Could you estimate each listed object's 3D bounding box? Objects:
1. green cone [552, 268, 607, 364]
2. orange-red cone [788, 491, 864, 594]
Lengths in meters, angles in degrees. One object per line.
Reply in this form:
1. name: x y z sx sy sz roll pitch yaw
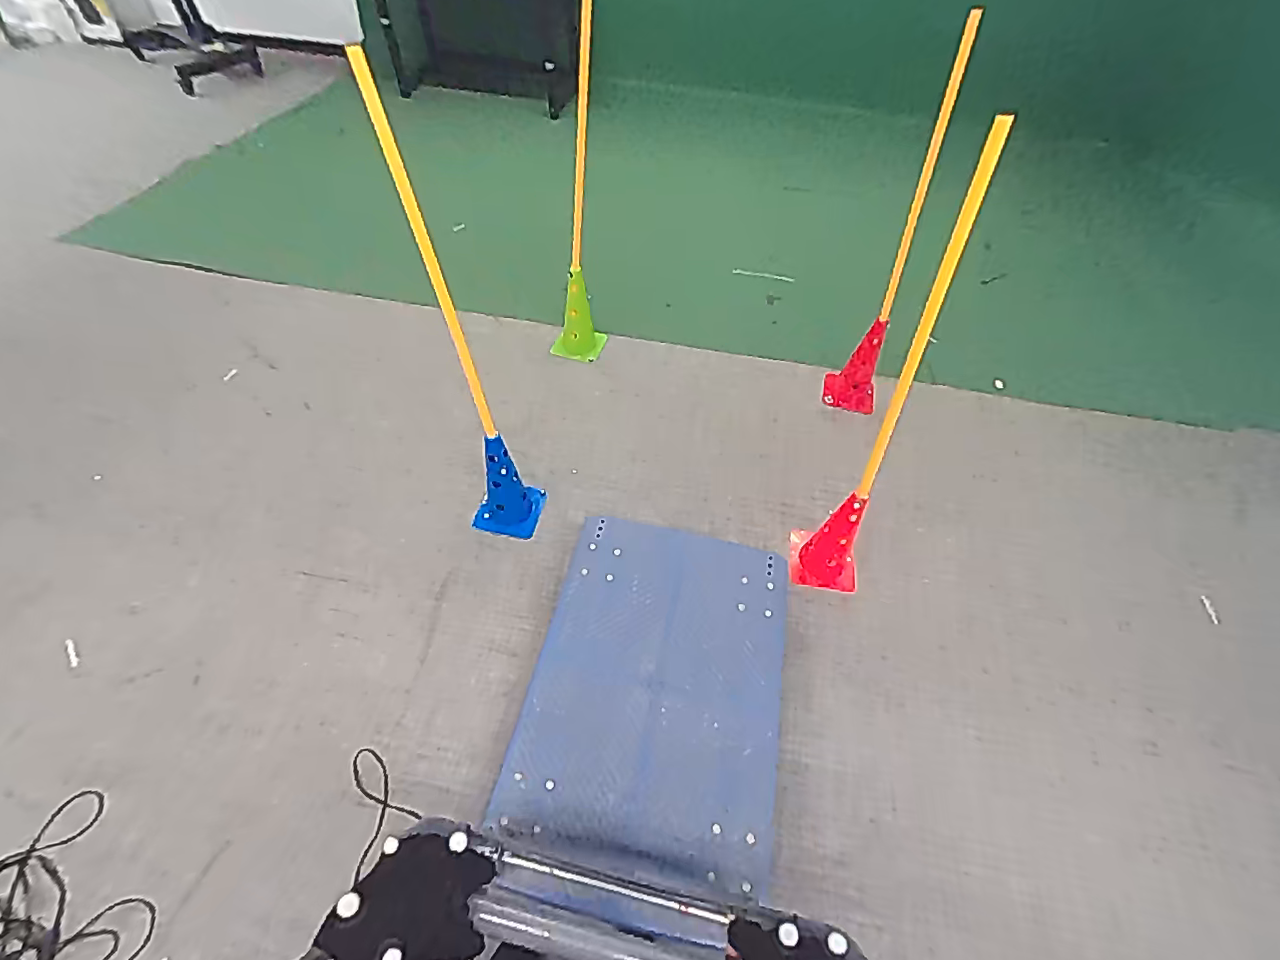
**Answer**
1. green cone: -0.250 -0.681 2.183 0.202 0.368 0.200 13 52 8
2. orange-red cone: 0.573 0.155 1.579 0.199 0.360 0.198 9 51 6
